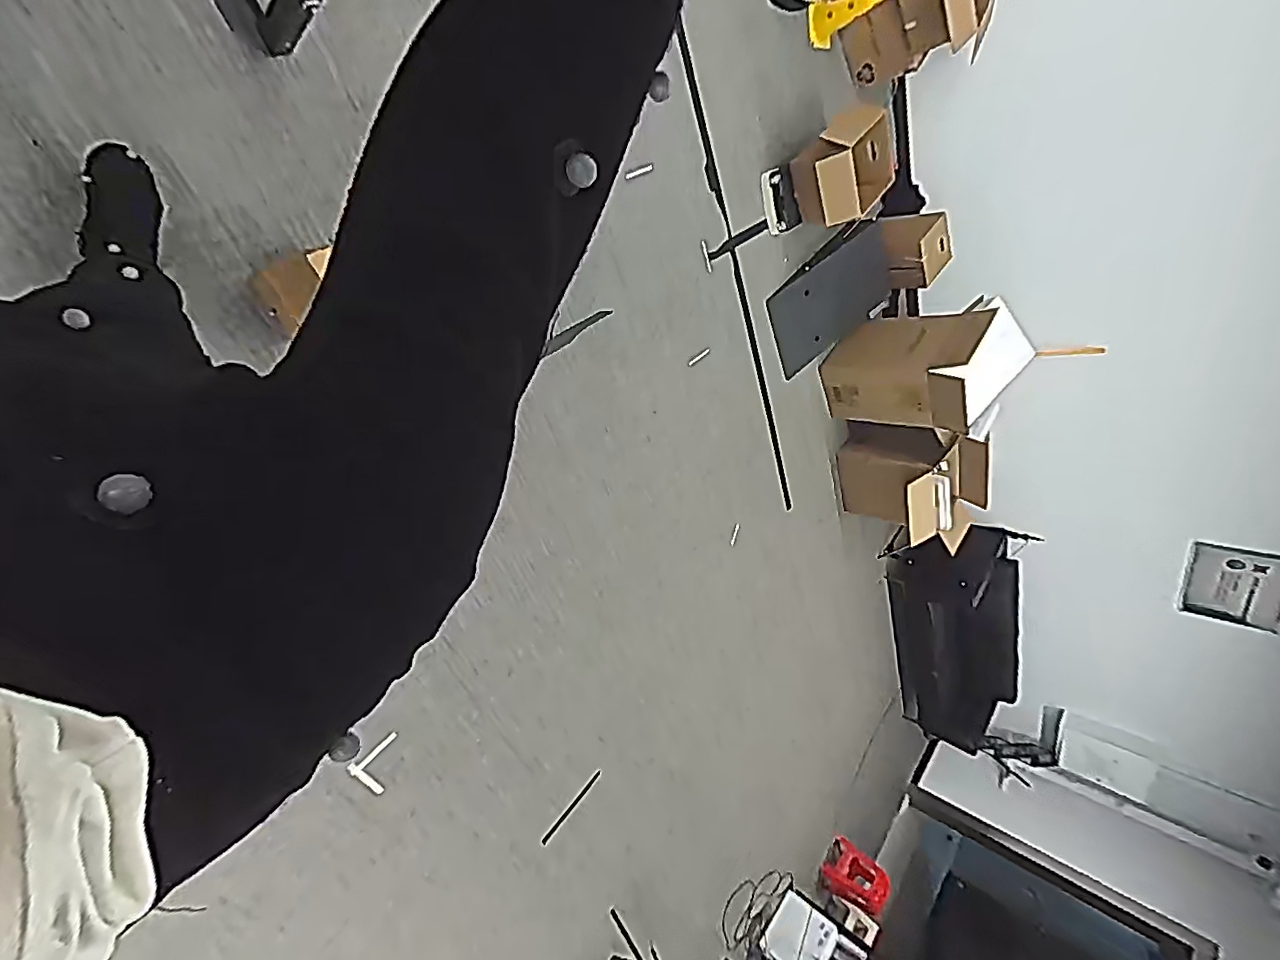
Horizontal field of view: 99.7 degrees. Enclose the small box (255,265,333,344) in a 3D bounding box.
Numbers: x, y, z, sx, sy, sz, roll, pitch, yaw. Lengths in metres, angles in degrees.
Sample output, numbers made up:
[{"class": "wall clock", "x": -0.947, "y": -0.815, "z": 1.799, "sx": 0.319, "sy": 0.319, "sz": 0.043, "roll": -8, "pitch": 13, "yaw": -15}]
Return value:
[{"class": "small box", "x": -0.809, "y": -0.451, "z": 1.342, "sx": 0.179, "sy": 0.176, "sz": 0.168, "roll": -42, "pitch": 126, "yaw": -29}]
